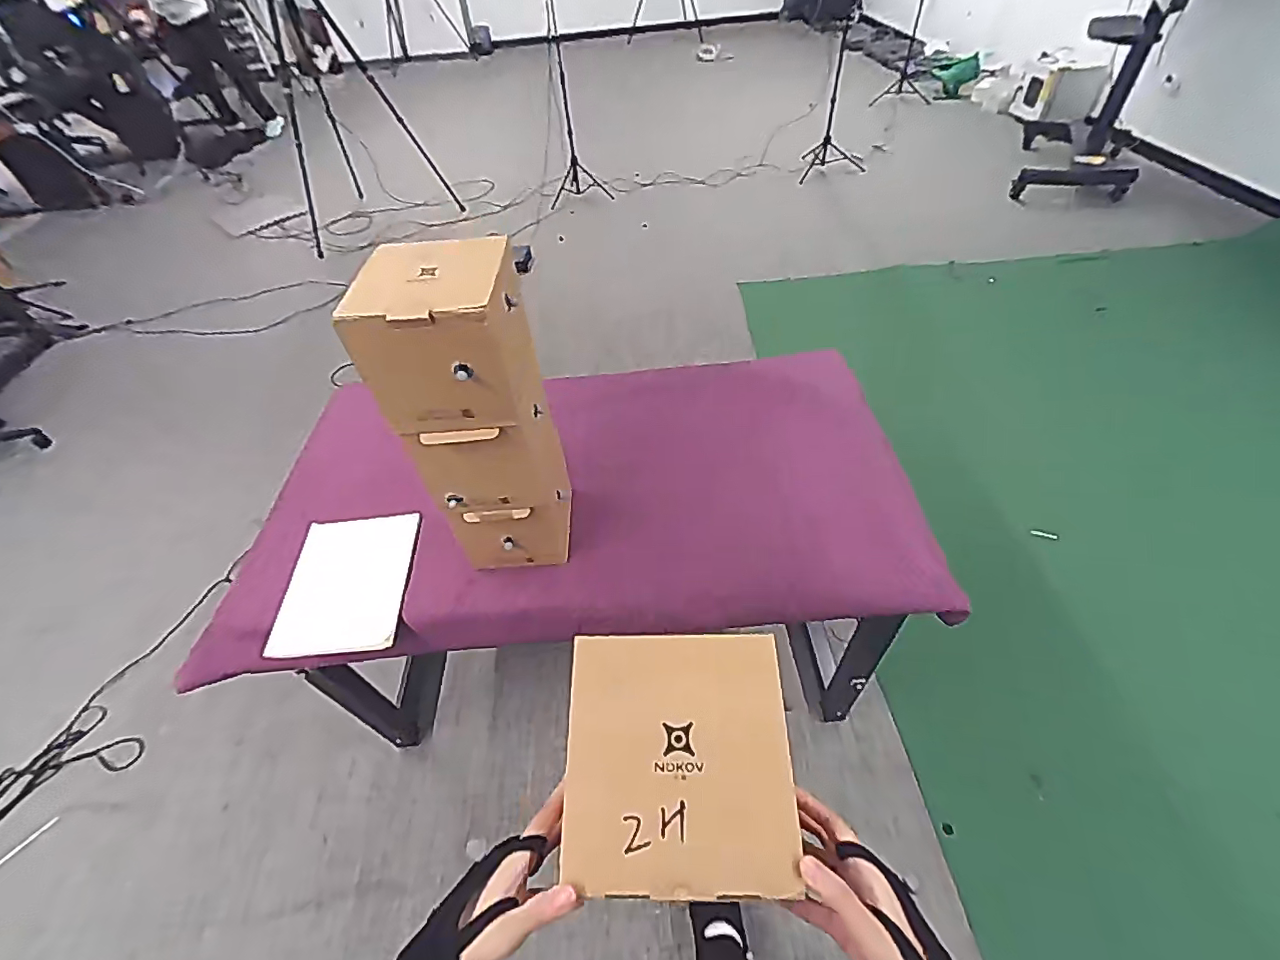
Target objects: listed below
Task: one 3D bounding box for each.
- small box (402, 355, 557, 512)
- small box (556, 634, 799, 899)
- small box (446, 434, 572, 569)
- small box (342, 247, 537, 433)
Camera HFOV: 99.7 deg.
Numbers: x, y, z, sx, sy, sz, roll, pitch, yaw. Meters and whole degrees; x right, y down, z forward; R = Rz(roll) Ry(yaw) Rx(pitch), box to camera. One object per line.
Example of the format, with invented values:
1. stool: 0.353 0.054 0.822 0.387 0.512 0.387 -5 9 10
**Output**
1. small box: -0.223 -0.064 0.808 0.168 0.176 0.179 -4 46 1
2. small box: 0.029 0.247 0.470 0.168 0.176 0.179 -1 56 3
3. small box: -0.213 0.043 0.933 0.168 0.176 0.179 -4 48 1
4. small box: -0.232 -0.172 0.685 0.168 0.176 0.179 -2 47 1
